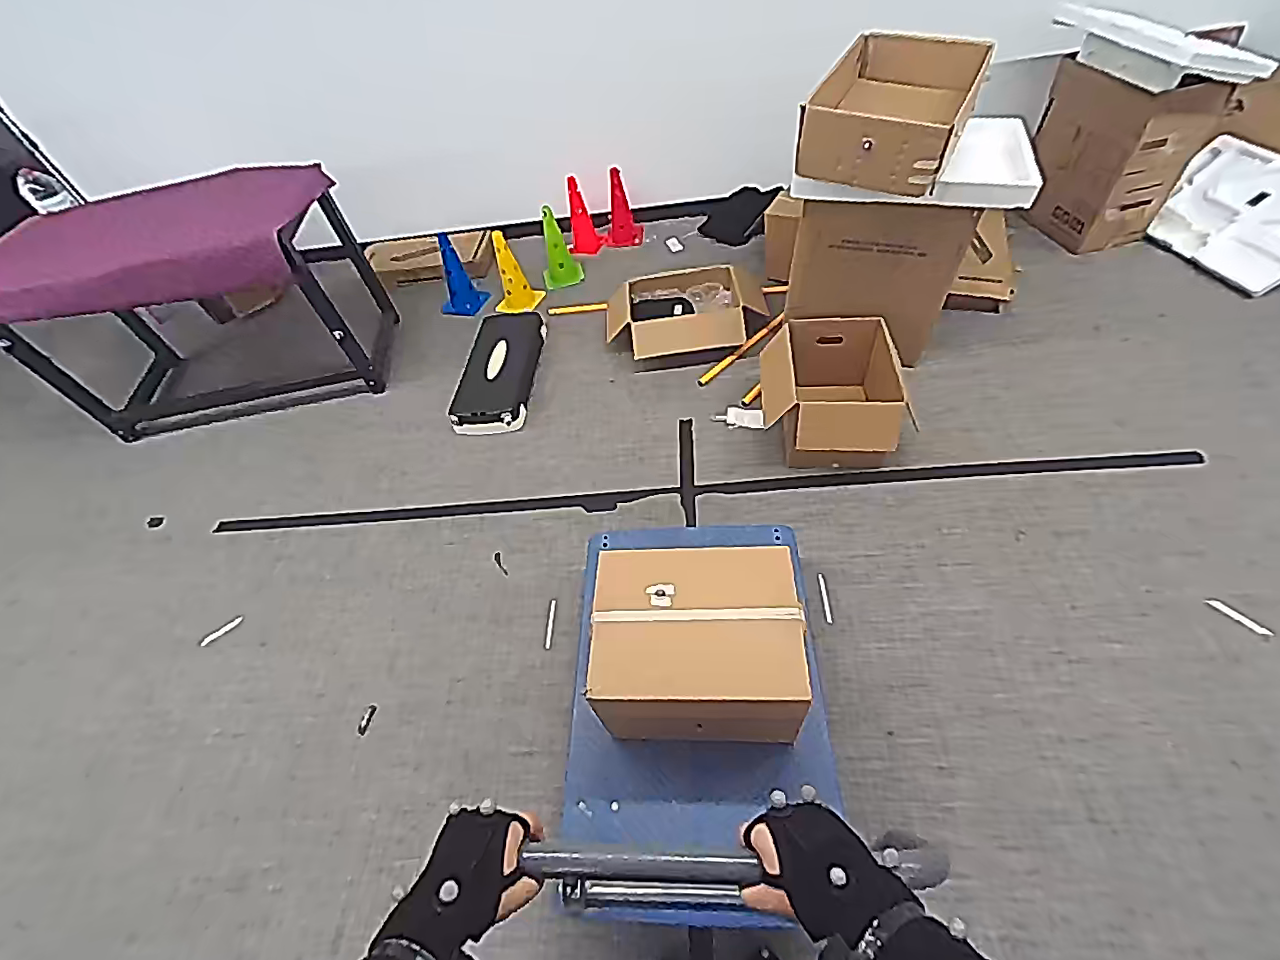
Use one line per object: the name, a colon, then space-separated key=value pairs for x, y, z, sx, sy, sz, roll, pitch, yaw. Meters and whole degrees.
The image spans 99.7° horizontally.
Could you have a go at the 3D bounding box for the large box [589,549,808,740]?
large box: x=0.127 y=0.370 z=1.184 sx=0.408 sy=0.320 sz=0.320 roll=-4 pitch=51 yaw=7
